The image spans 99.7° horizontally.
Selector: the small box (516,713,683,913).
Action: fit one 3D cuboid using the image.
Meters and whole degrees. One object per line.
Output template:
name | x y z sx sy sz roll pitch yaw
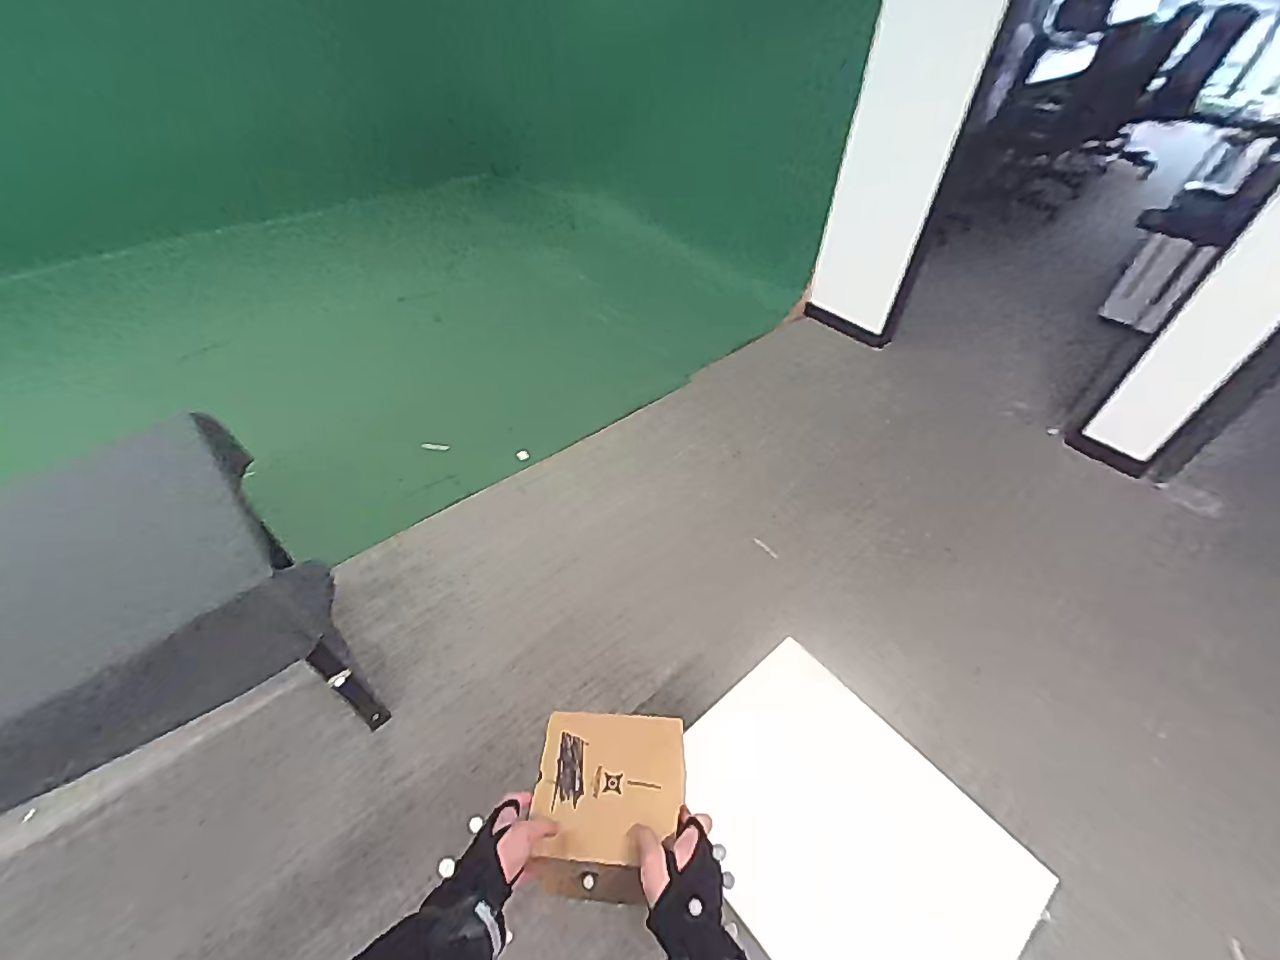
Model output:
small box | -0.036 0.412 0.671 0.179 0.176 0.168 1 40 4
